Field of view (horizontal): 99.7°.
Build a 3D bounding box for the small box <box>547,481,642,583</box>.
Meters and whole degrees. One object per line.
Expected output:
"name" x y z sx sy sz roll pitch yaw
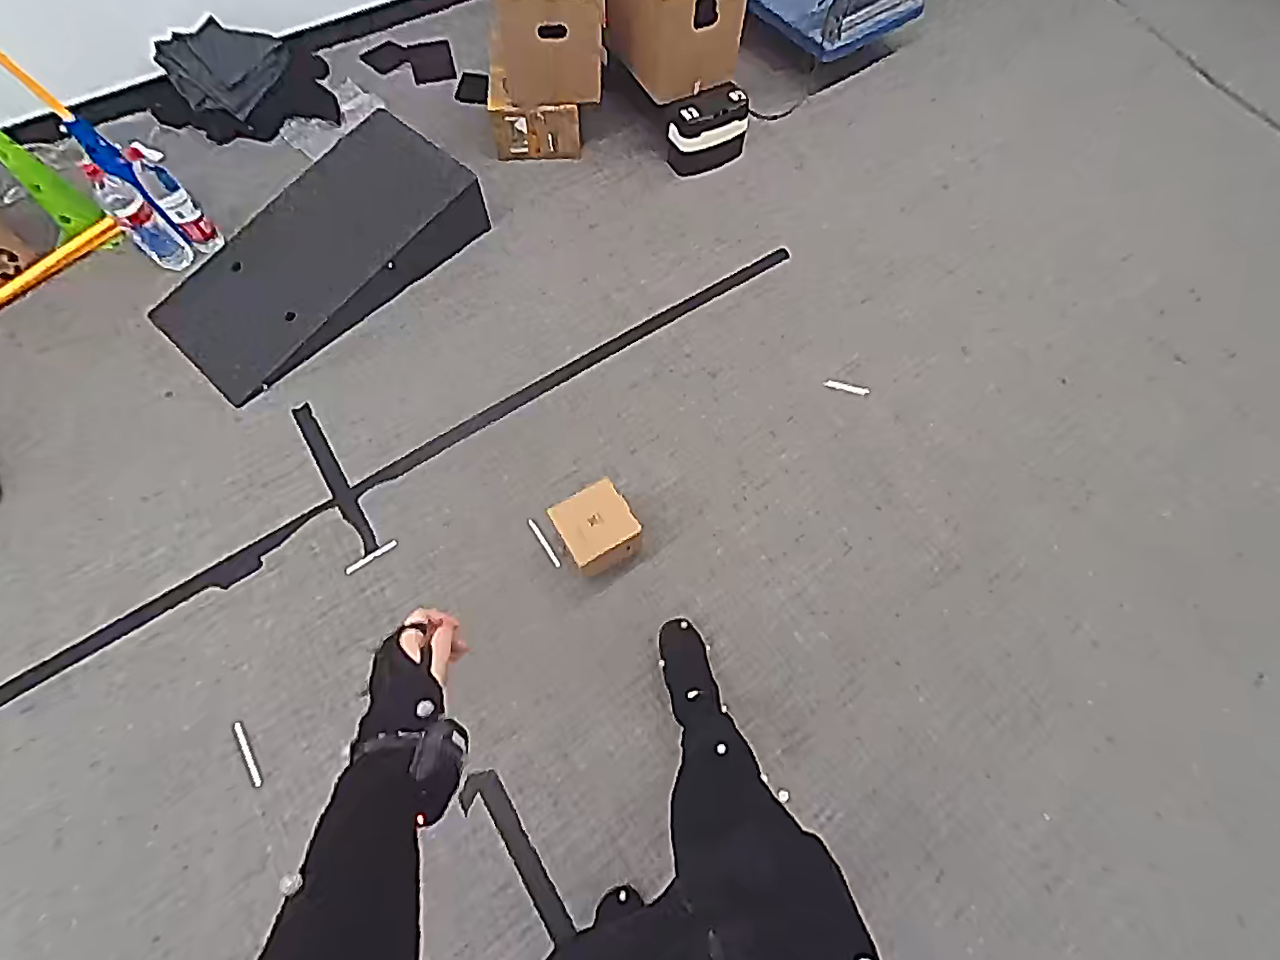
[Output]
"small box" -0.113 0.135 1.354 0.179 0.176 0.168 -30 70 -13
